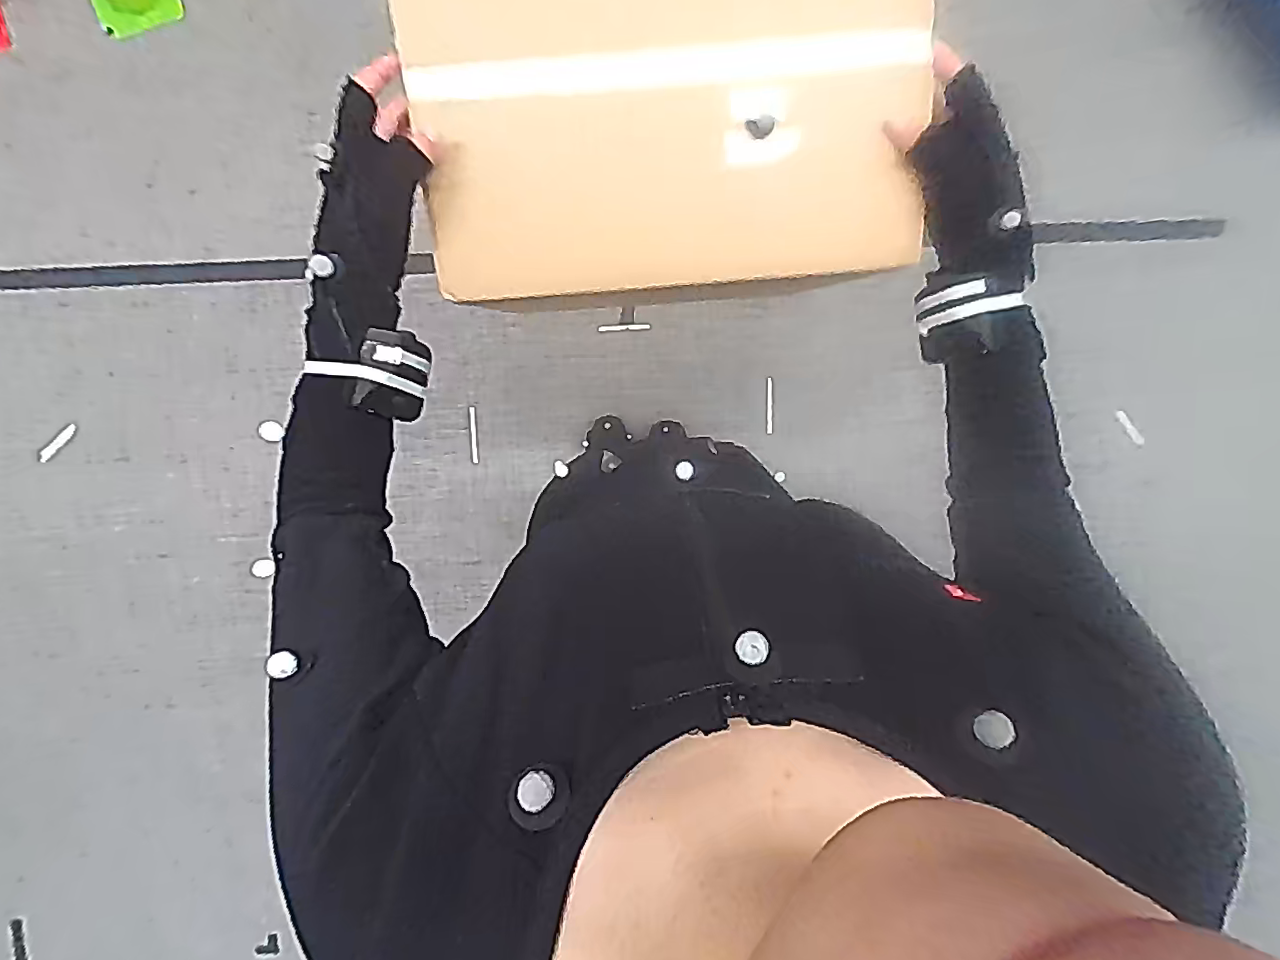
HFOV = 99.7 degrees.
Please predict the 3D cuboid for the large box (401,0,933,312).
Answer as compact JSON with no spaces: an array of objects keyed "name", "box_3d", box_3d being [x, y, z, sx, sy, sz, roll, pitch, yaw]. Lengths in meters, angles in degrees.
[{"name":"large box","box_3d":[0.017,-0.358,0.556,0.408,0.320,0.320,-5,106,-2]}]
